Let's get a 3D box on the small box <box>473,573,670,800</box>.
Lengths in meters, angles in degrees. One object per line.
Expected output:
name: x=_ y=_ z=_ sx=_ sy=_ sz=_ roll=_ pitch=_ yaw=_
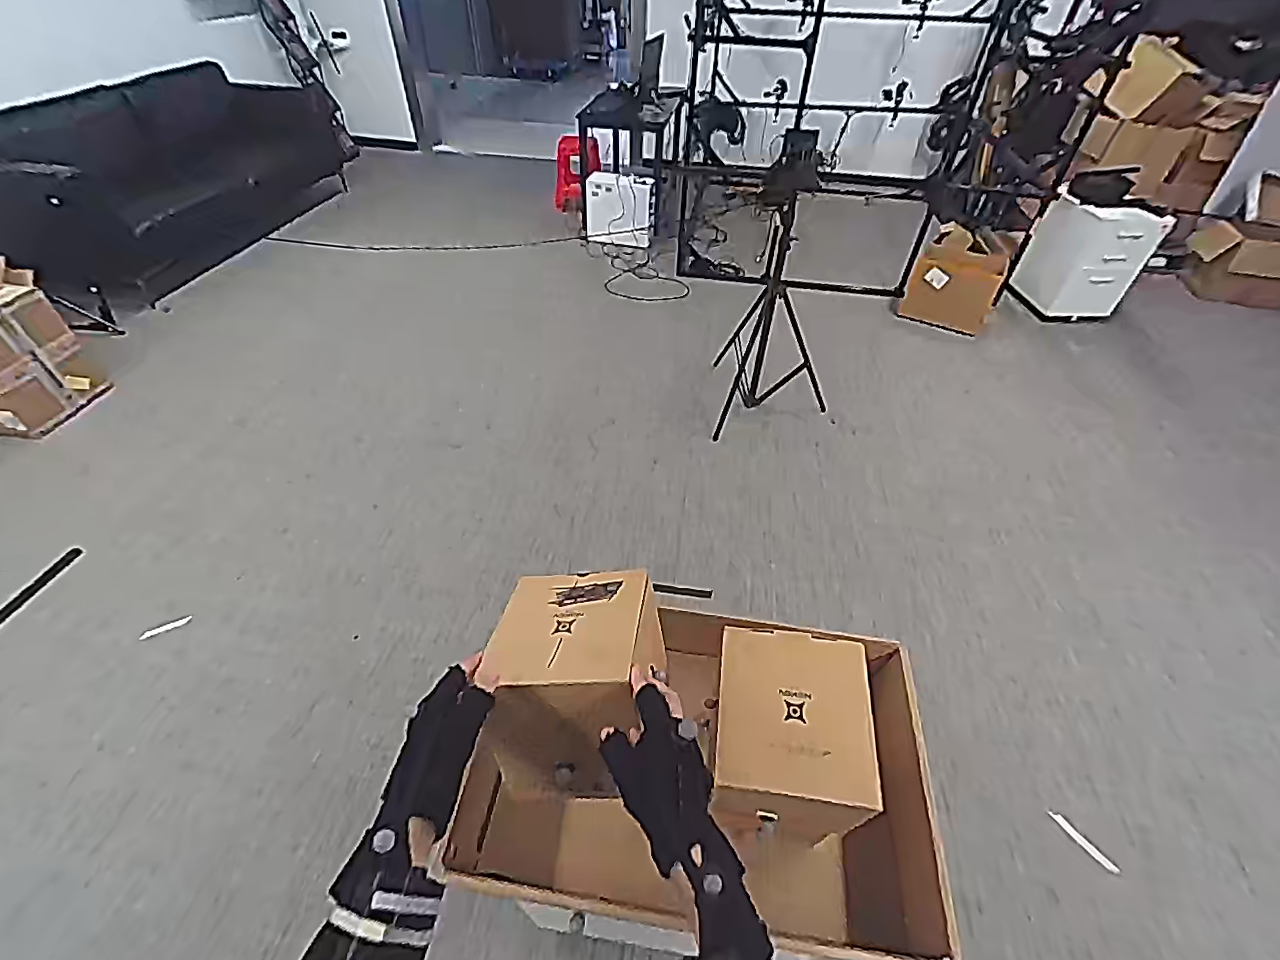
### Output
small box: x=-0.061 y=0.228 z=0.617 sx=0.168 sy=0.176 sz=0.179 roll=-7 pitch=25 yaw=11

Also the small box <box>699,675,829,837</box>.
small box: x=0.183 y=0.400 z=0.781 sx=0.179 sy=0.176 sz=0.168 roll=6 pitch=49 yaw=6

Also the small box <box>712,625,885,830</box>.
small box: x=0.176 y=0.299 z=0.653 sx=0.168 sy=0.176 sz=0.179 roll=4 pitch=51 yaw=8
